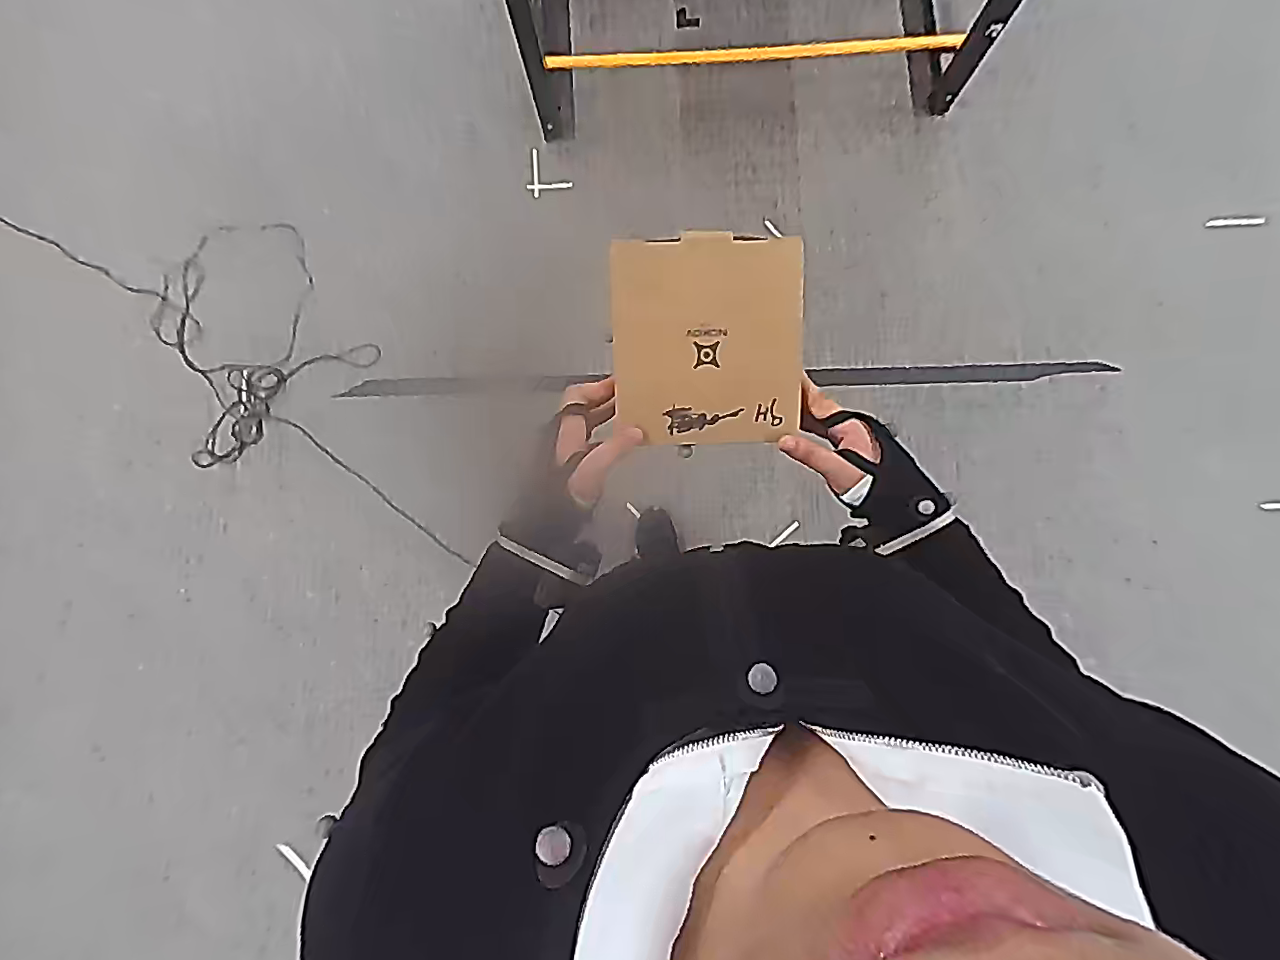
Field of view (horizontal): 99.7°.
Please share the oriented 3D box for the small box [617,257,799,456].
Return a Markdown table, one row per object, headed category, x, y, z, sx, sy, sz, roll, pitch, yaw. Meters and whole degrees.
| category | x | y | z | sx | sy | sz | roll | pitch | yaw |
| --- | --- | --- | --- | --- | --- | --- | --- | --- | --- |
| small box | 0.059 | -0.121 | 0.567 | 0.168 | 0.176 | 0.179 | -2 | 99 | -1 |
